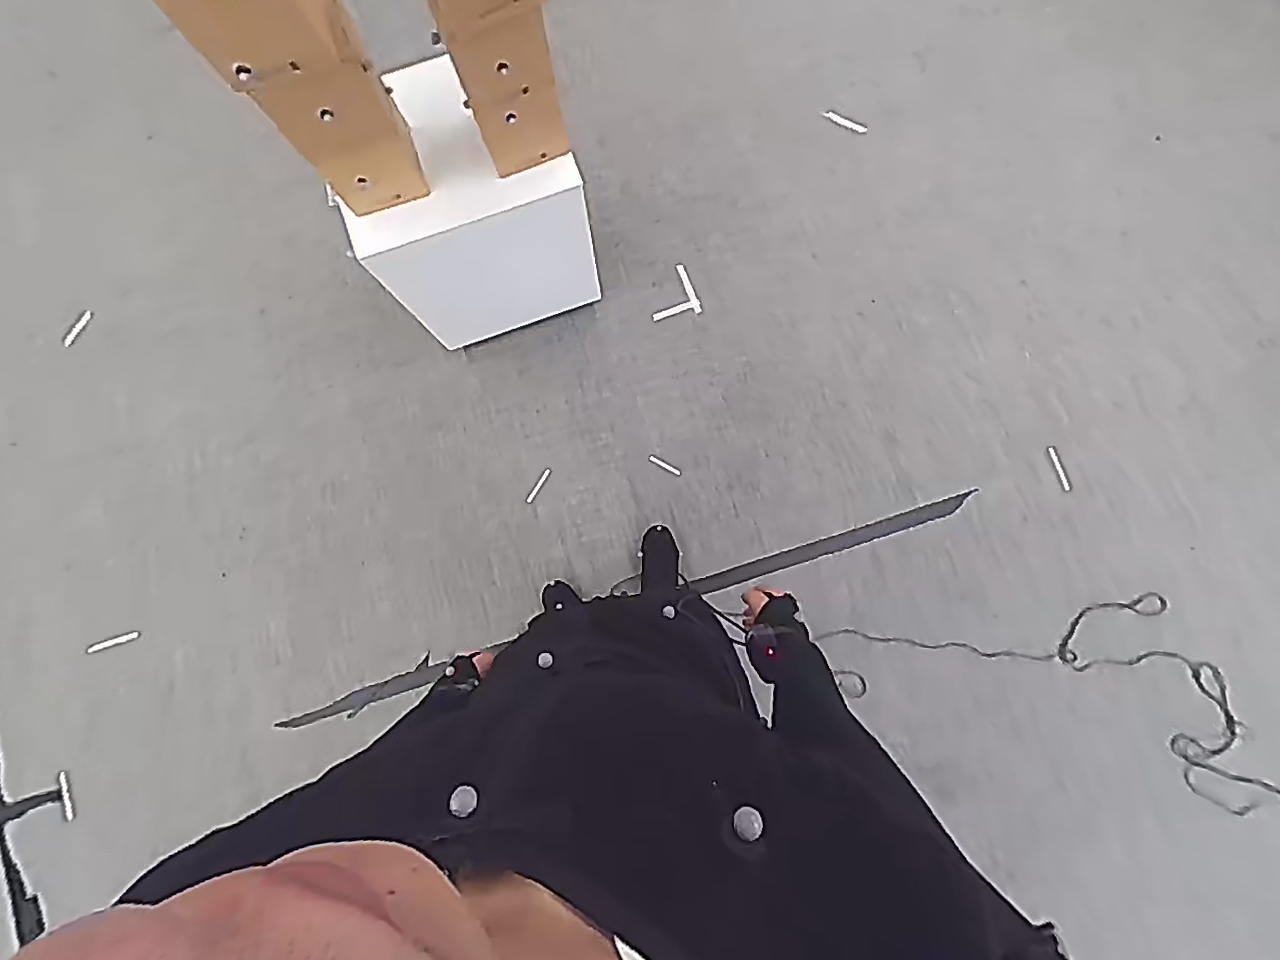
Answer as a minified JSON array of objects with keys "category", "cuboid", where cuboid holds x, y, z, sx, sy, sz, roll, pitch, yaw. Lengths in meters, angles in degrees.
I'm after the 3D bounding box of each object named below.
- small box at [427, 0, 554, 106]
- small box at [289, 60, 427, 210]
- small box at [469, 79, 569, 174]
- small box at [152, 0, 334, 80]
[{"category":"small box","cuboid":[-0.258,-0.782,0.920,0.168,0.176,0.179,-21,84,-1]},{"category":"small box","cuboid":[-0.550,-0.672,1.080,0.168,0.176,0.179,-19,83,-2]},{"category":"small box","cuboid":[-0.256,-0.764,1.085,0.168,0.176,0.179,-22,84,0]},{"category":"small box","cuboid":[-0.559,-0.702,0.752,0.168,0.176,0.179,-16,83,-1]}]
